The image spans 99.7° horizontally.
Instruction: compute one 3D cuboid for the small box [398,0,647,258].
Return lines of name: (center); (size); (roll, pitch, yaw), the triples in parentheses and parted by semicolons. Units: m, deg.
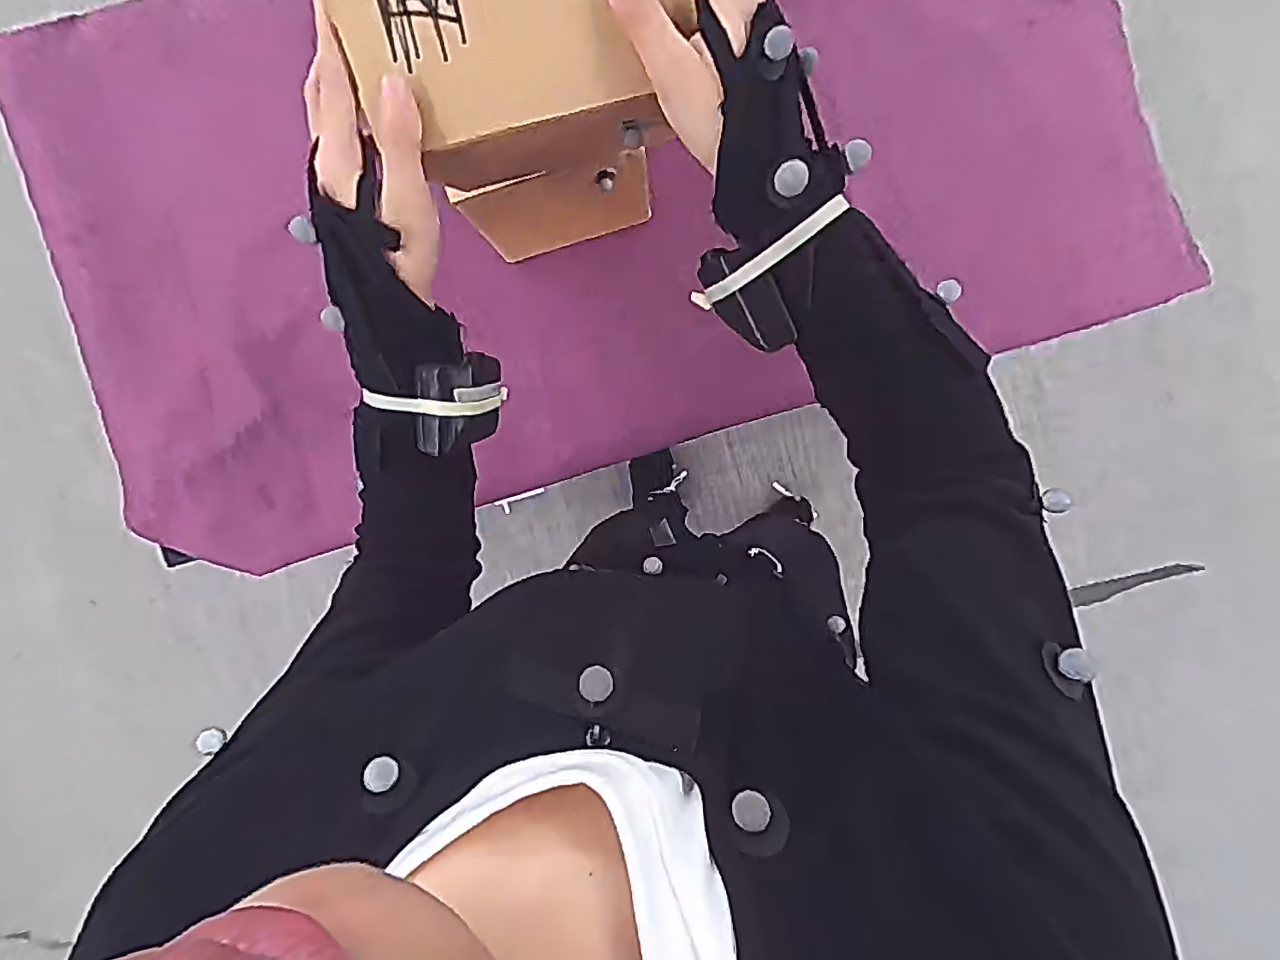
small box: (-0.097, -0.342, 0.532); (0.179, 0.176, 0.168); (-16, 94, 3)
